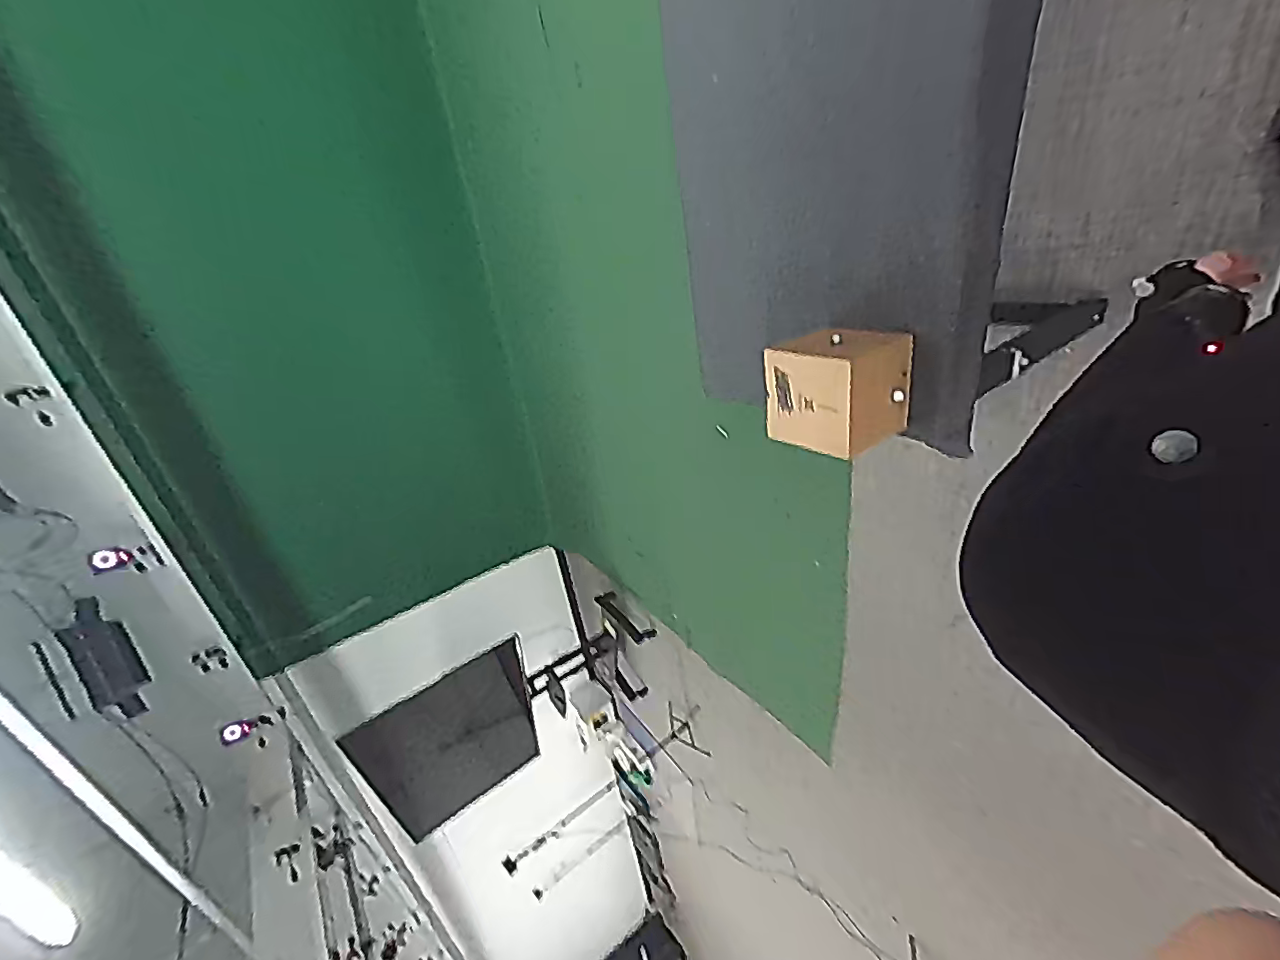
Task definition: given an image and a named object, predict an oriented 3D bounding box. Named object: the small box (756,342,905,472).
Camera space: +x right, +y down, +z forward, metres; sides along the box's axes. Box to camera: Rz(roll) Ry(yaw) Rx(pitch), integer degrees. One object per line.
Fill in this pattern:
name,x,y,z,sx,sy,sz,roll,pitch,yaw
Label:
small box,0.323,-0.136,0.933,0.179,0.176,0.168,25,131,50
